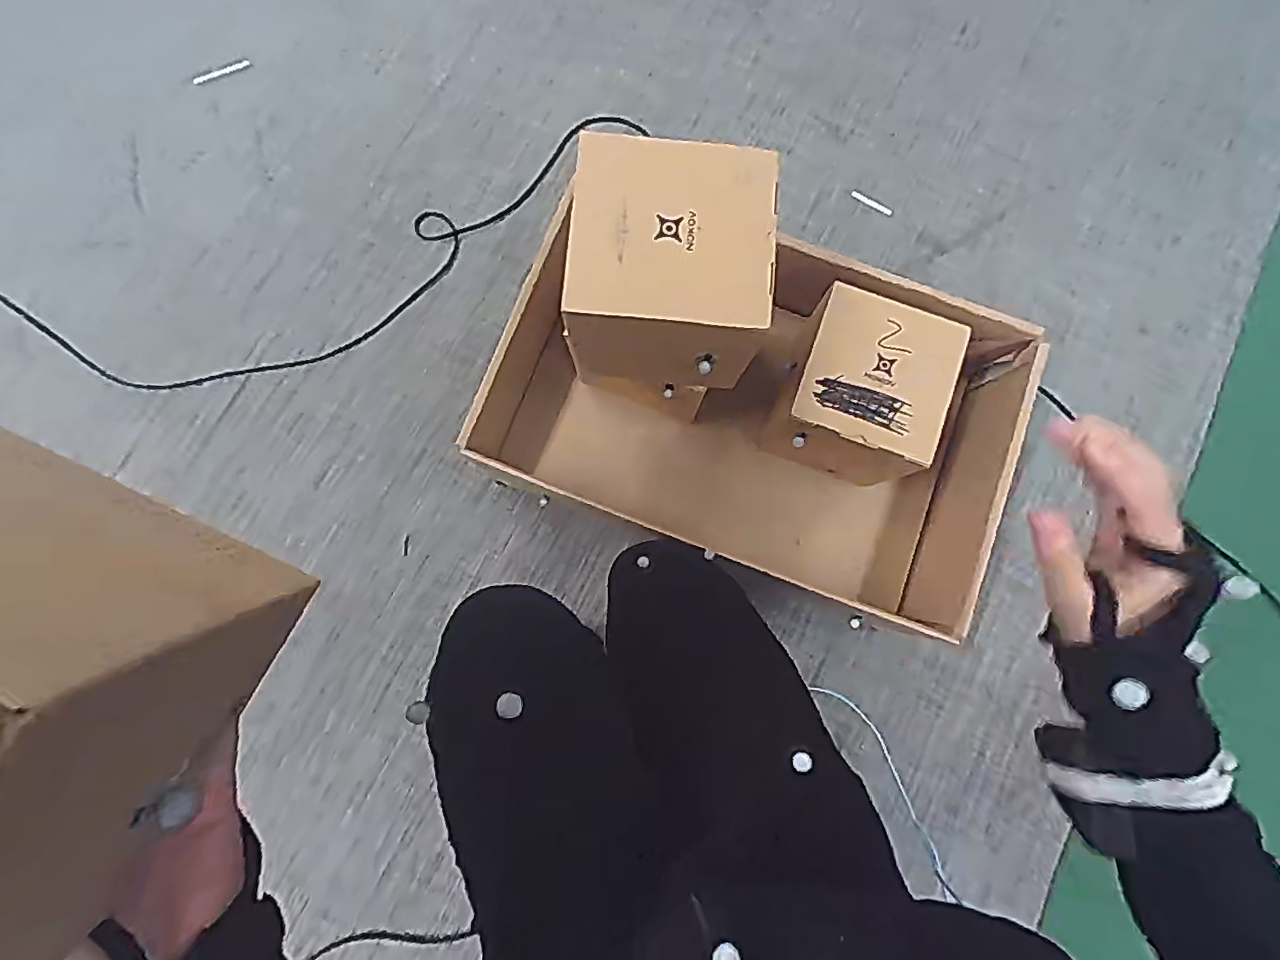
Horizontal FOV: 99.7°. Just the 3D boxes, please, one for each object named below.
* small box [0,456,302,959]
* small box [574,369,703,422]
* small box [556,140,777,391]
[{"bbox_3d":[-0.259,0.088,0.170,0.179,0.176,0.168,30,84,-10],"label":"small box"},{"bbox_3d":[0.017,-0.190,0.698,0.179,0.176,0.168,22,83,0],"label":"small box"},{"bbox_3d":[0.022,-0.193,0.534,0.179,0.176,0.168,5,83,0],"label":"small box"}]
